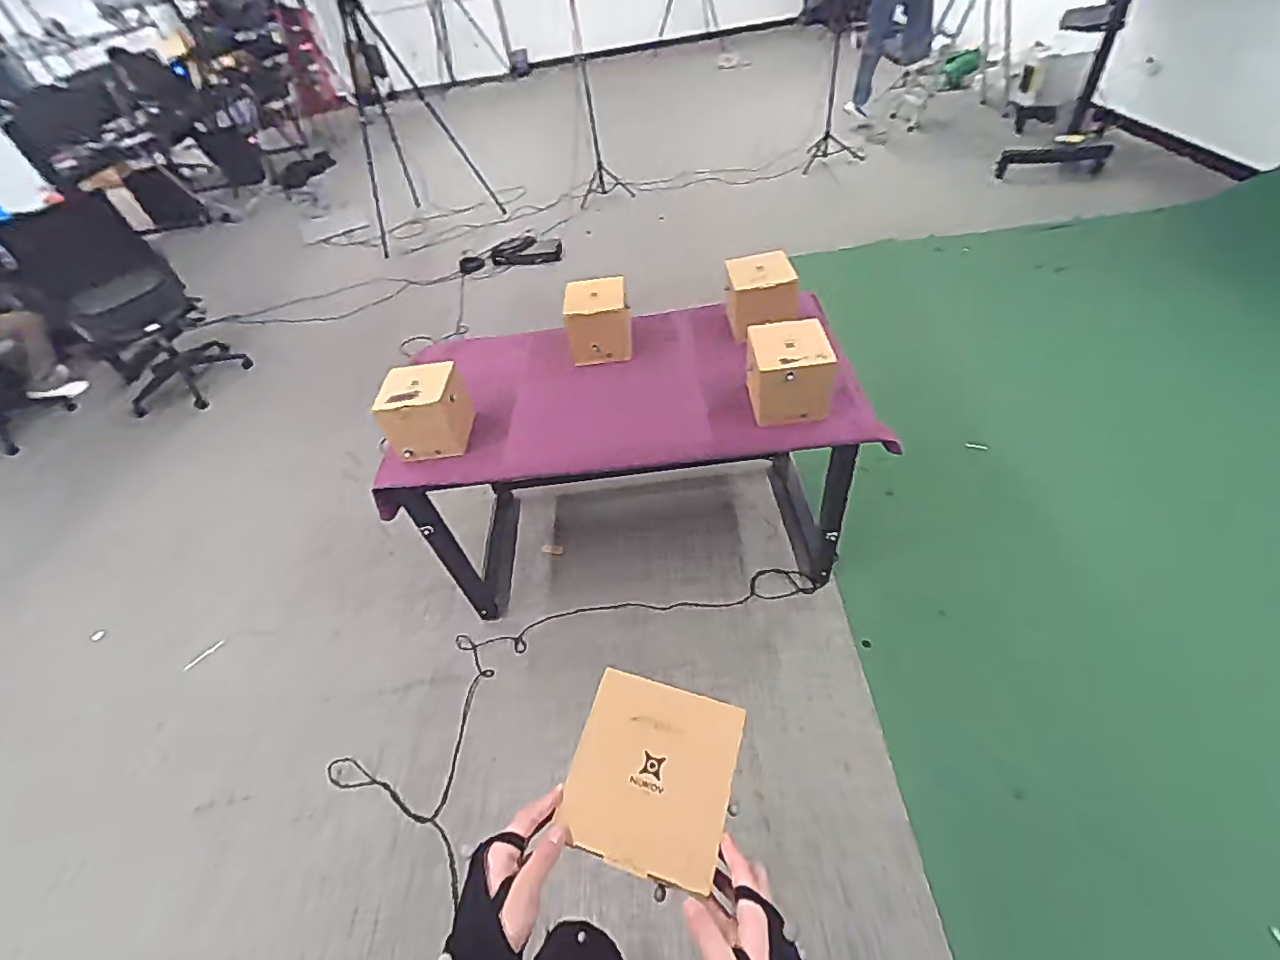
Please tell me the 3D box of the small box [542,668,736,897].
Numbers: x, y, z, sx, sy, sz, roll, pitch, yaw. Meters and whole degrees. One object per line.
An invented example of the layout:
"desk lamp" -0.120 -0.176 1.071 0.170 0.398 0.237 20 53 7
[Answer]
"small box" 0.010 0.352 0.633 0.168 0.176 0.179 13 56 14

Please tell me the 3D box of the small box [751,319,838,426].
"small box" 0.354 -0.250 1.269 0.168 0.176 0.179 -7 47 7

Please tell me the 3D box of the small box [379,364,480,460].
"small box" -0.522 -0.165 1.369 0.168 0.176 0.179 -7 45 5

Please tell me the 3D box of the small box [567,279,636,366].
"small box" -0.105 -0.451 1.551 0.168 0.176 0.179 -5 49 6

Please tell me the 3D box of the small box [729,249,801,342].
"small box" 0.345 -0.512 1.509 0.168 0.176 0.179 -10 48 6
